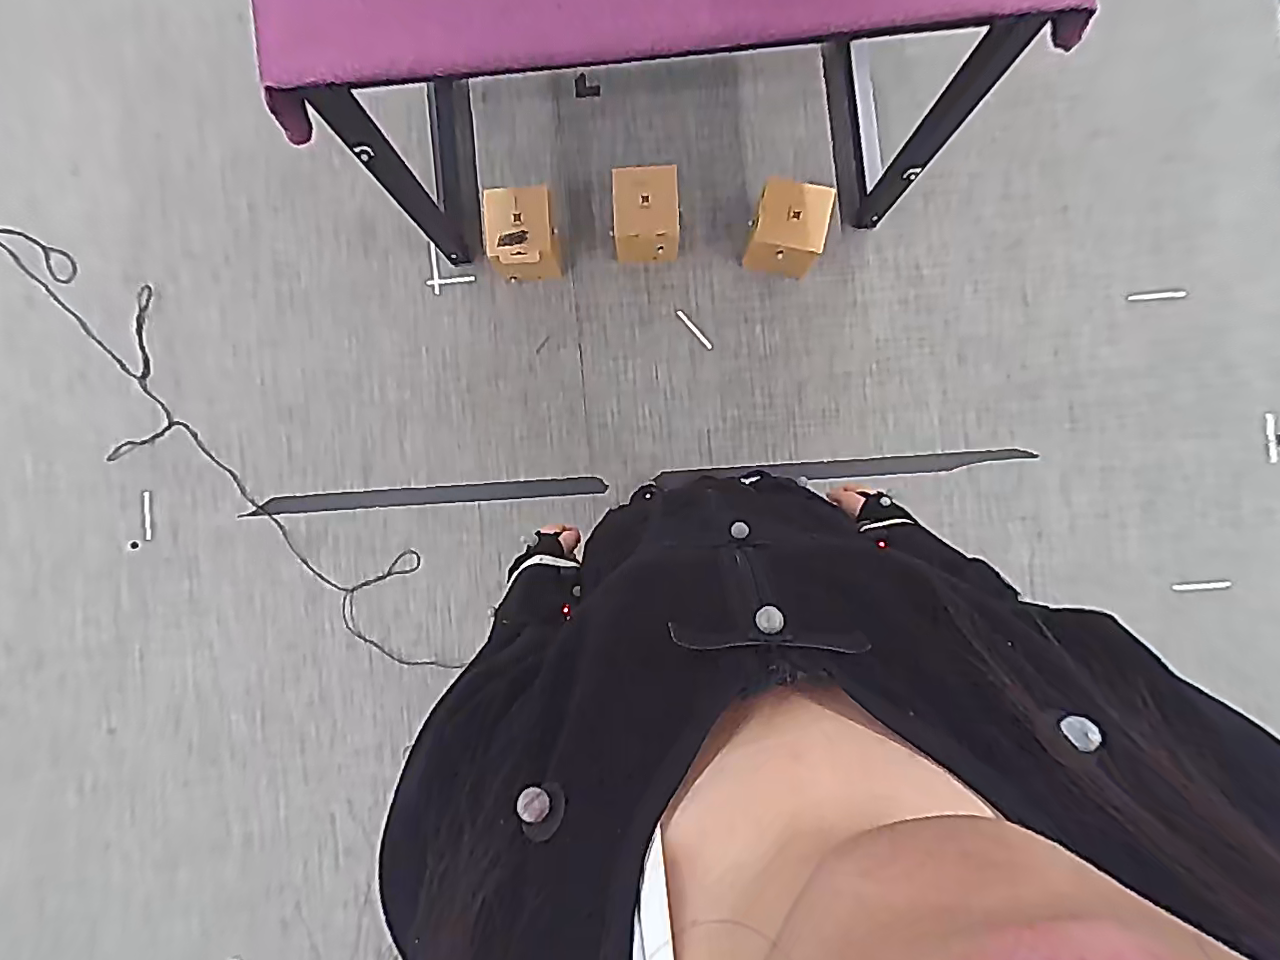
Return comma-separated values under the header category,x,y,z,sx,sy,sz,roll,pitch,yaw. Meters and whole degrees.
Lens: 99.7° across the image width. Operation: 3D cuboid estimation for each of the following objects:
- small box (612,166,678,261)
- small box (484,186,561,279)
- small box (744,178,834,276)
category,x,y,z,sx,sy,sz,roll,pitch,yaw
small box,0.014,-0.696,1.434,0.168,0.176,0.179,-3,88,0
small box,-0.306,-0.647,1.437,0.168,0.176,0.179,-4,88,1
small box,0.386,-0.659,1.427,0.179,0.176,0.168,12,90,3
